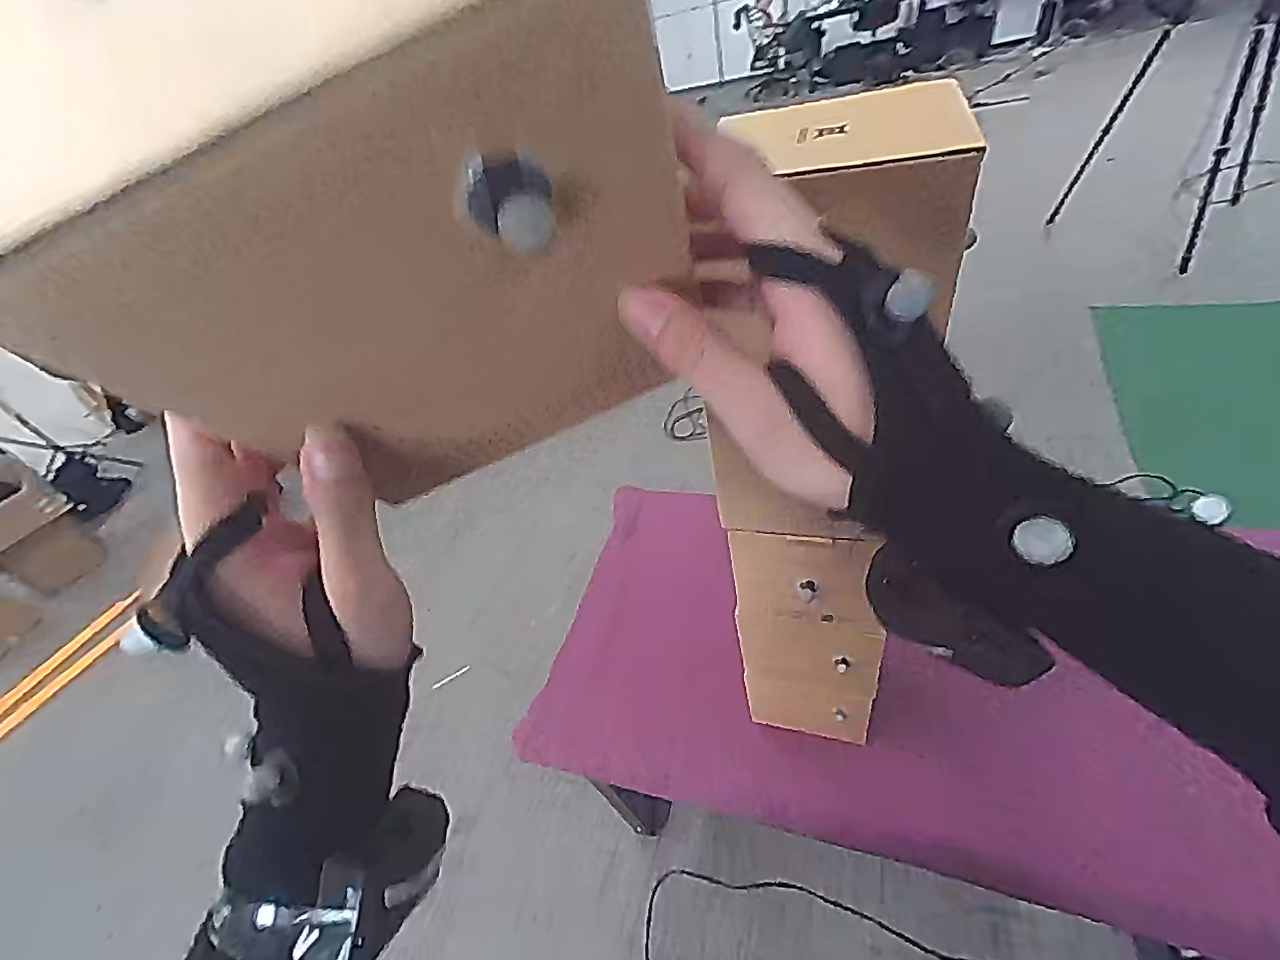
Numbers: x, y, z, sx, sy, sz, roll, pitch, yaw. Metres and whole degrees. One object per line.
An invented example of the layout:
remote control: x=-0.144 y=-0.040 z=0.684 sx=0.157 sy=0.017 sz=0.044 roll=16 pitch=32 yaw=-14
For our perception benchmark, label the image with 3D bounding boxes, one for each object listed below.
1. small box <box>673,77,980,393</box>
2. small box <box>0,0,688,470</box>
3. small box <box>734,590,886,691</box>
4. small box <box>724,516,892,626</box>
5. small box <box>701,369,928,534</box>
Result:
small box: x=0.141 y=-0.180 z=0.424 sx=0.179 sy=0.176 sz=0.168 roll=3 pitch=46 yaw=21
small box: x=-0.089 y=-0.127 z=0.215 sx=0.179 sy=0.176 sz=0.168 roll=-23 pitch=68 yaw=6
small box: x=0.239 y=0.171 z=0.751 sx=0.179 sy=0.176 sz=0.168 roll=3 pitch=46 yaw=21
small box: x=0.205 y=0.051 z=0.646 sx=0.168 sy=0.176 sz=0.179 roll=4 pitch=46 yaw=20
small box: x=0.171 y=-0.063 z=0.532 sx=0.179 sy=0.176 sz=0.168 roll=3 pitch=46 yaw=20
